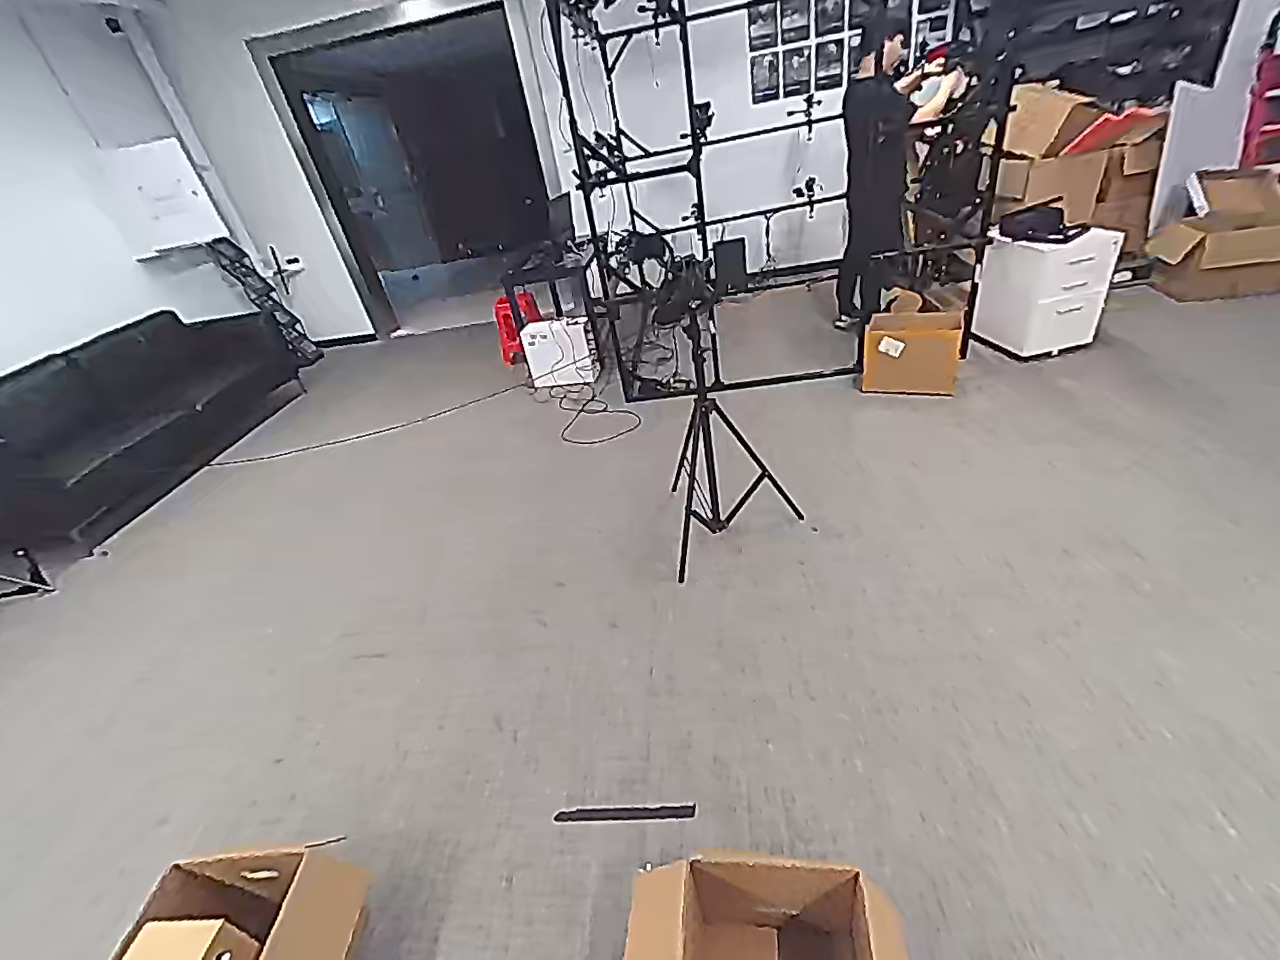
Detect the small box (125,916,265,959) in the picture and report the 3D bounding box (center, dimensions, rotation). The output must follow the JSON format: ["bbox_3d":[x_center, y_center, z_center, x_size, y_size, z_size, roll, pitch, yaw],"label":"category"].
[{"bbox_3d":[-0.838,0.939,0.991,0.168,0.176,0.179,-8,34,7],"label":"small box"}]
